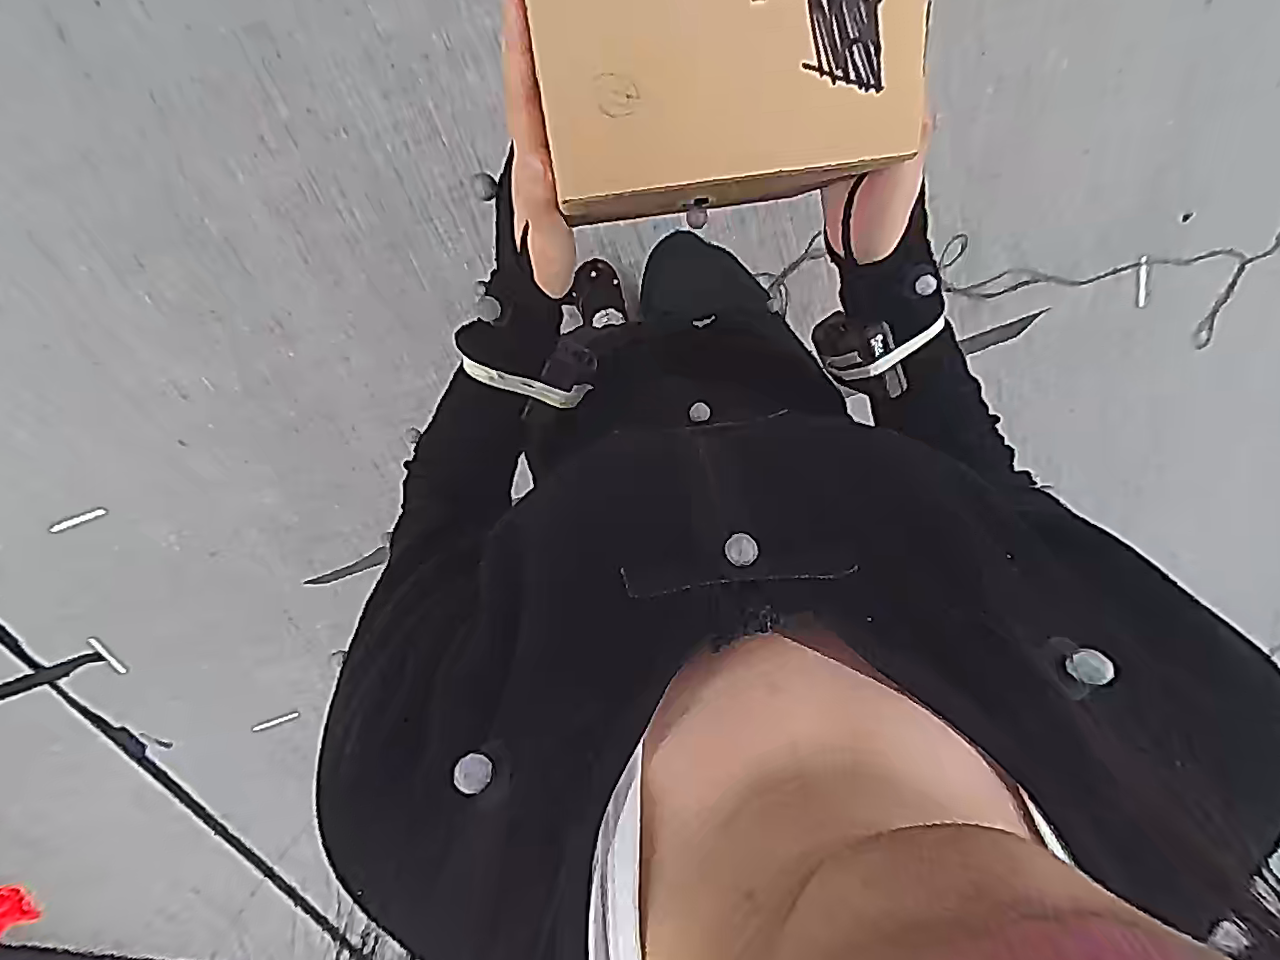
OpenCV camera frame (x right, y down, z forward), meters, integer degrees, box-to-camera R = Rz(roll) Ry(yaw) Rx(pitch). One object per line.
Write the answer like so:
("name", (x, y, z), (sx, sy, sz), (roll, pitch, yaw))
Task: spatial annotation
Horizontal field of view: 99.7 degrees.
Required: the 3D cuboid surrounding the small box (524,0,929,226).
("small box", (0.029, -0.243, 0.297), (0.179, 0.176, 0.168), (-9, 112, -3))
